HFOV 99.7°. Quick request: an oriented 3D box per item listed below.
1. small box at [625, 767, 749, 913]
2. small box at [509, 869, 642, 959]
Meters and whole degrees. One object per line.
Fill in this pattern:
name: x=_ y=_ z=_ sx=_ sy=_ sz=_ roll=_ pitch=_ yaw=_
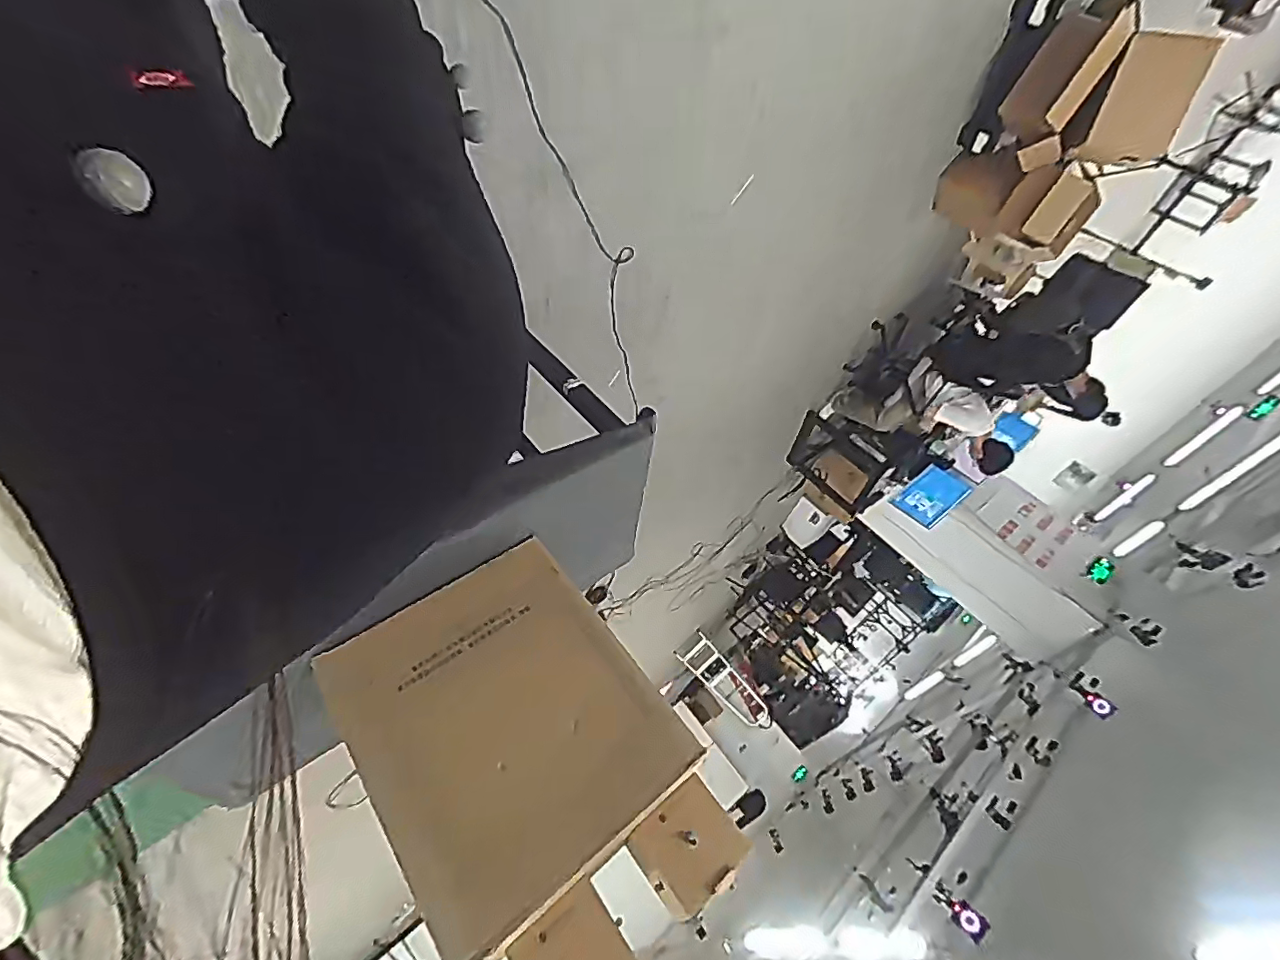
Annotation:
small box: x=0.085 y=0.710 z=1.076 sx=0.168 sy=0.176 sz=0.179 roll=-31 pitch=148 yaw=-28
small box: x=-0.116 y=0.825 z=0.949 sx=0.168 sy=0.176 sz=0.179 roll=-29 pitch=149 yaw=-27
